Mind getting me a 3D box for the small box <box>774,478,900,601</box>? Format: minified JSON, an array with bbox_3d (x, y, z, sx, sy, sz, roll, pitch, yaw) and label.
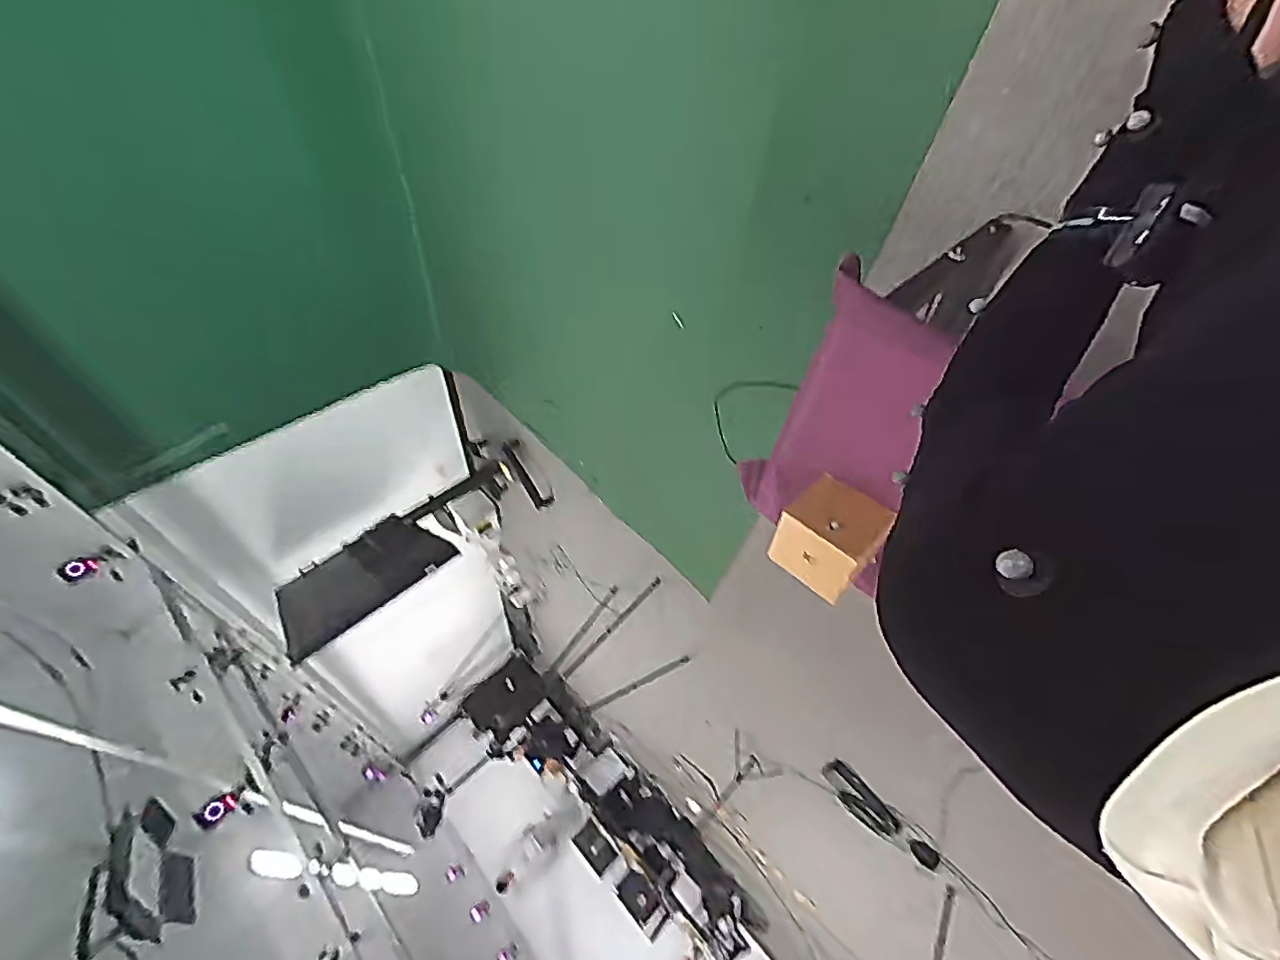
[{"bbox_3d":[0.426,0.121,1.180,0.179,0.176,0.168,36,146,28],"label":"small box"}]
